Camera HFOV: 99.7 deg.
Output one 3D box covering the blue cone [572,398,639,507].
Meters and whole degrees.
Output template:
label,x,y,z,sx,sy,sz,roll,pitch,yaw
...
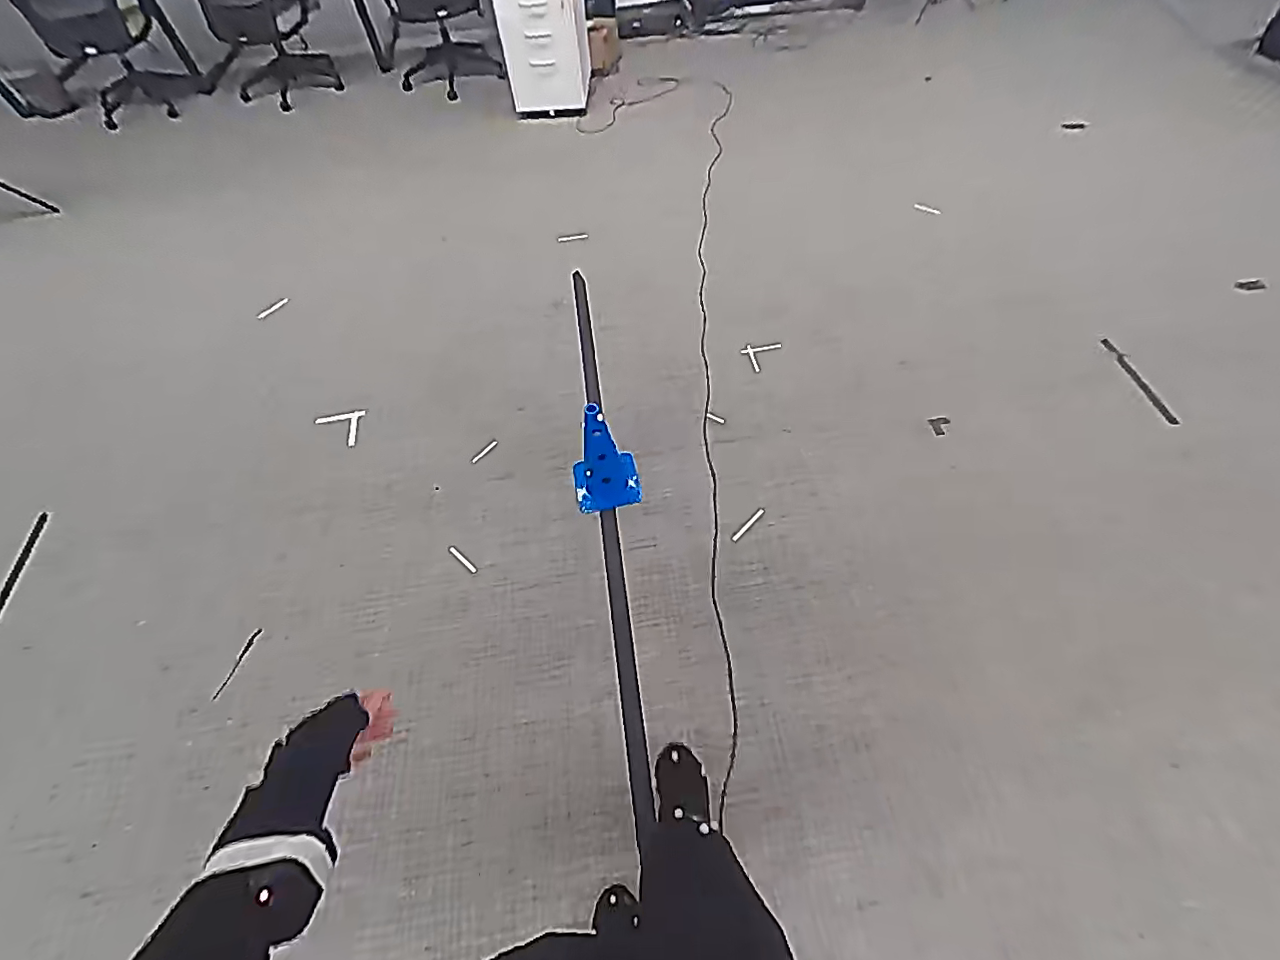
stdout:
label,x,y,z,sx,sy,sz,roll,pitch,yaw
blue cone,-0.123,-0.098,1.576,0.192,0.380,0.193,-14,56,-5
